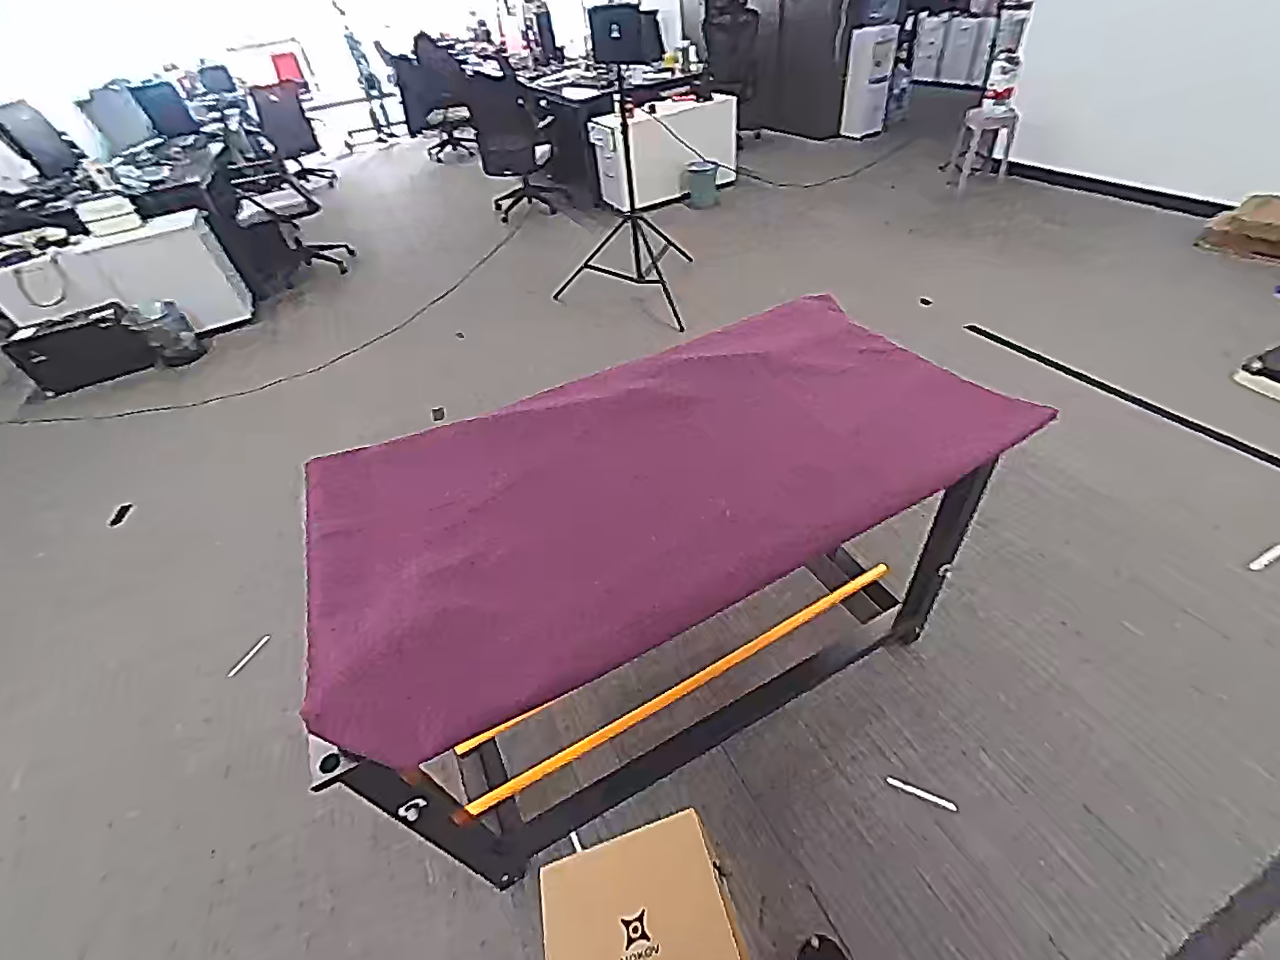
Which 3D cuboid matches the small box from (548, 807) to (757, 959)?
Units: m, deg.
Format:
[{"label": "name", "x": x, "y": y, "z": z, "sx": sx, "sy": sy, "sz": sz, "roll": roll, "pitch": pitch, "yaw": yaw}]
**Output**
[{"label": "small box", "x": 0.022, "y": 0.456, "z": 0.505, "sx": 0.168, "sy": 0.176, "sz": 0.179, "roll": -19, "pitch": 34, "yaw": -2}]
